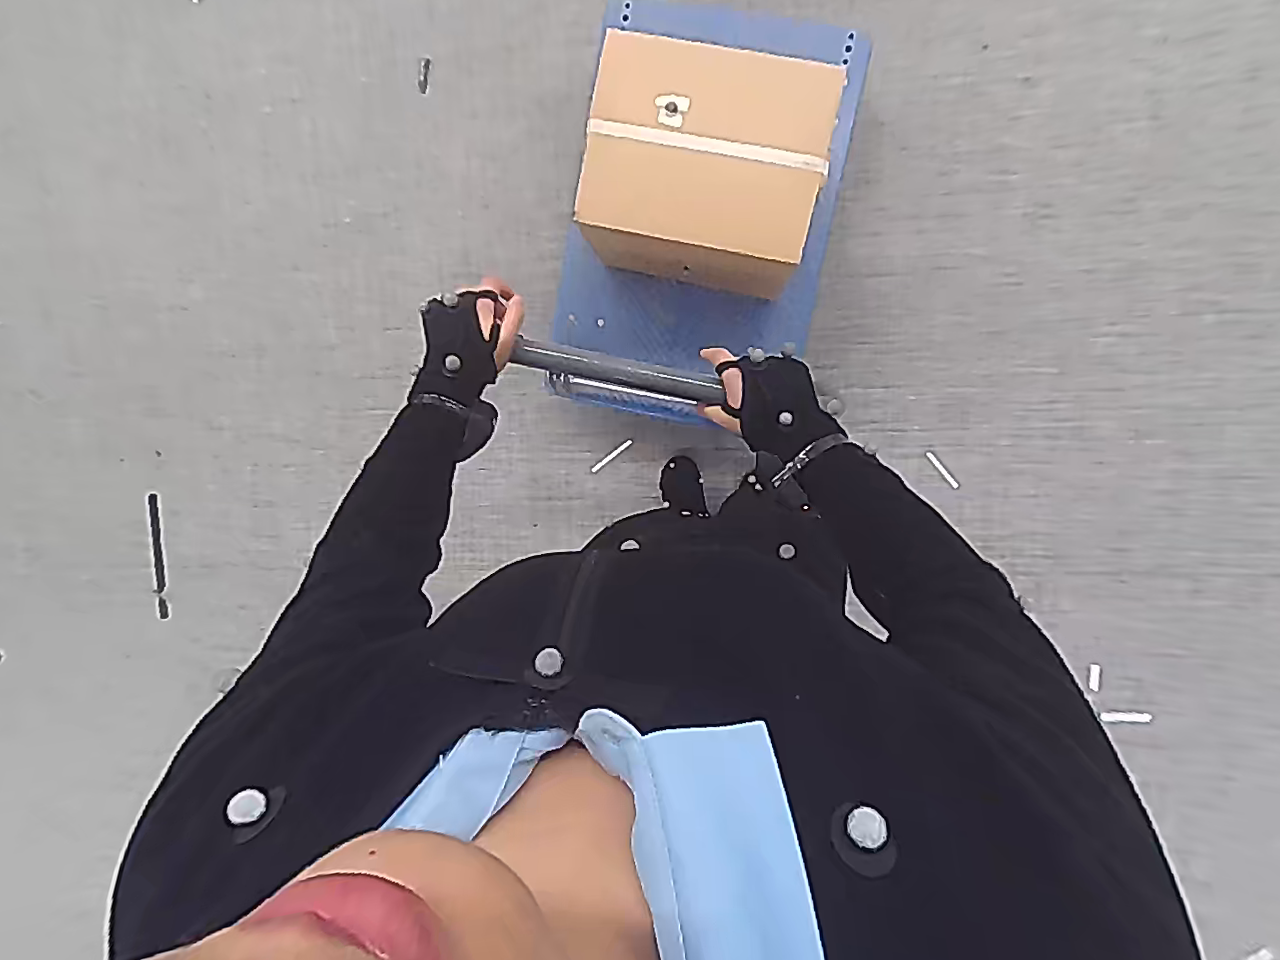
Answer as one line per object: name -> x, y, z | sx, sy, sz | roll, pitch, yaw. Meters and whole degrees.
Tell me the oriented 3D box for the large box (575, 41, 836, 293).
large box -> 0.125, -0.588, 1.079 | 0.408, 0.320, 0.320 | 13, 98, 6
